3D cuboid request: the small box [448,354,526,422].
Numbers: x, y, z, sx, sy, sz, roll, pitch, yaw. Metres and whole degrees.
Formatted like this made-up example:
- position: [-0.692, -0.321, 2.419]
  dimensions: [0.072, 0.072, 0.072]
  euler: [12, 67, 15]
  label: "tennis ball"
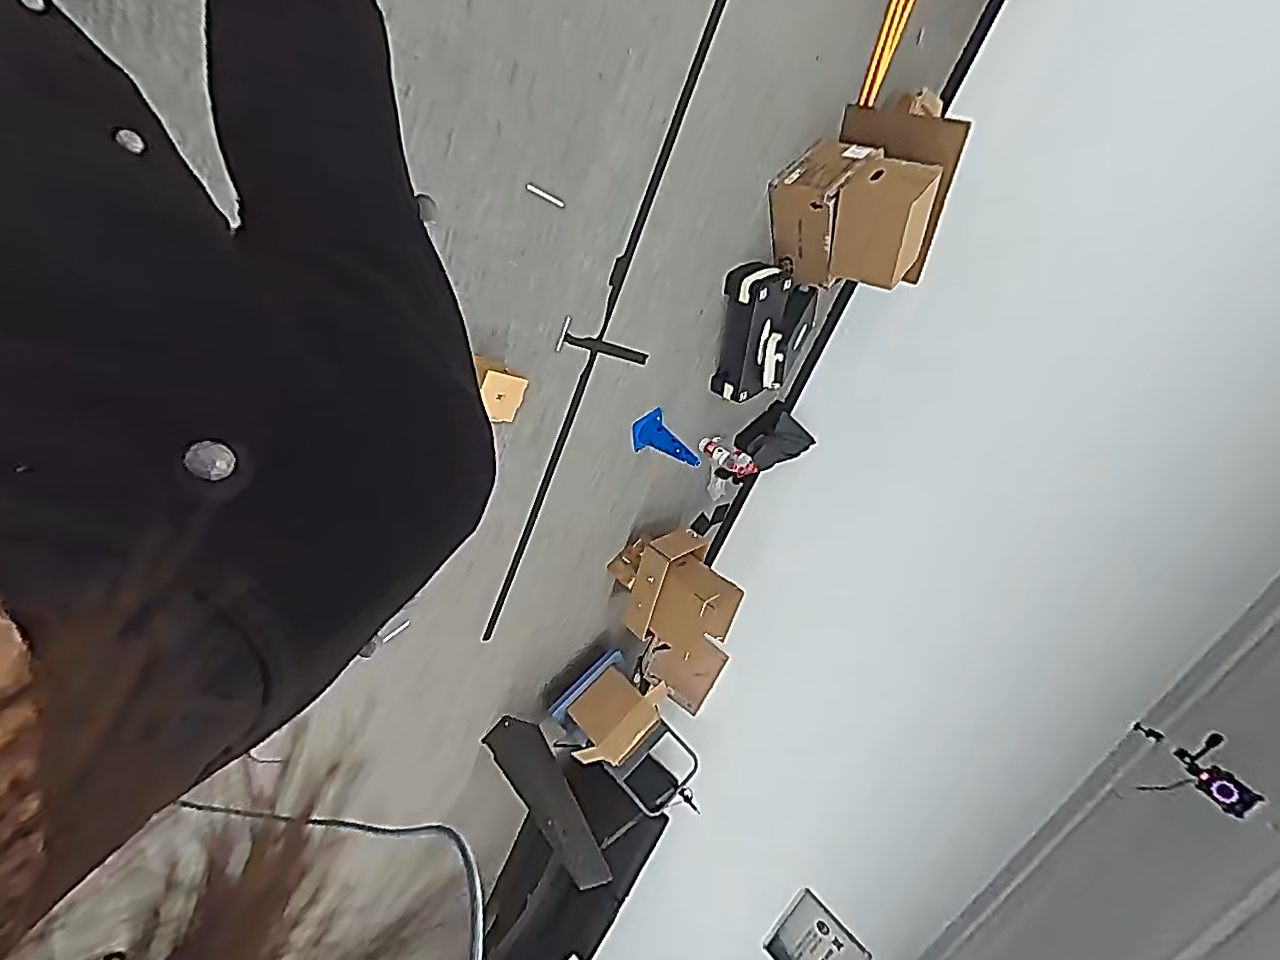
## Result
- position: [-0.535, -0.320, 1.875]
  dimensions: [0.179, 0.176, 0.168]
  euler: [4, 117, -53]
  label: "small box"
